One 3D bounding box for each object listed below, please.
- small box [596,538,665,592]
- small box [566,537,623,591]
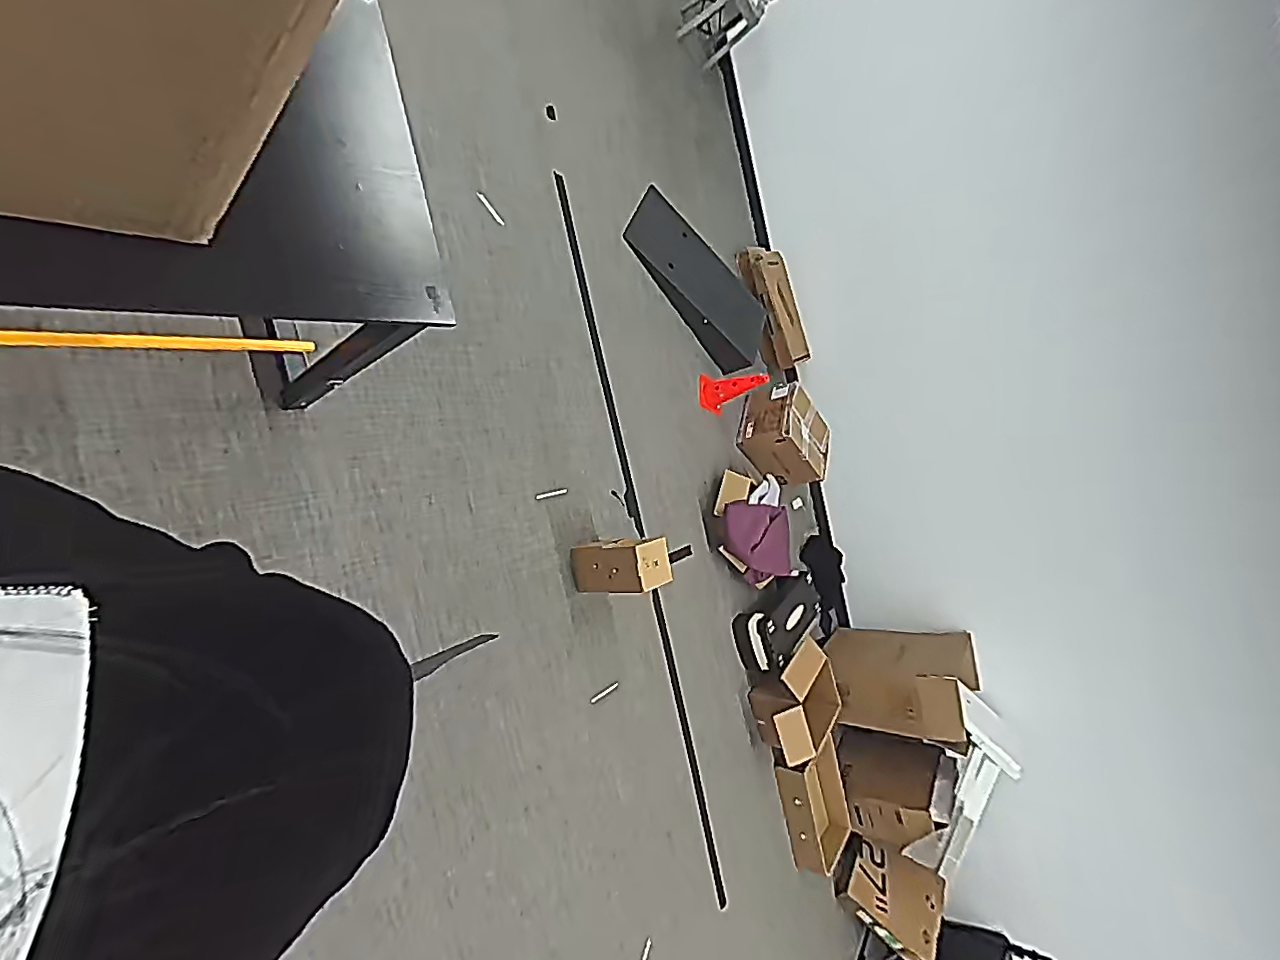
[{"bbox_3d":[-0.036,0.307,1.973,0.179,0.176,0.168,-9,89,-50],"label":"small box"},{"bbox_3d":[-0.166,0.323,2.073,0.168,0.176,0.179,-9,90,-50],"label":"small box"}]
